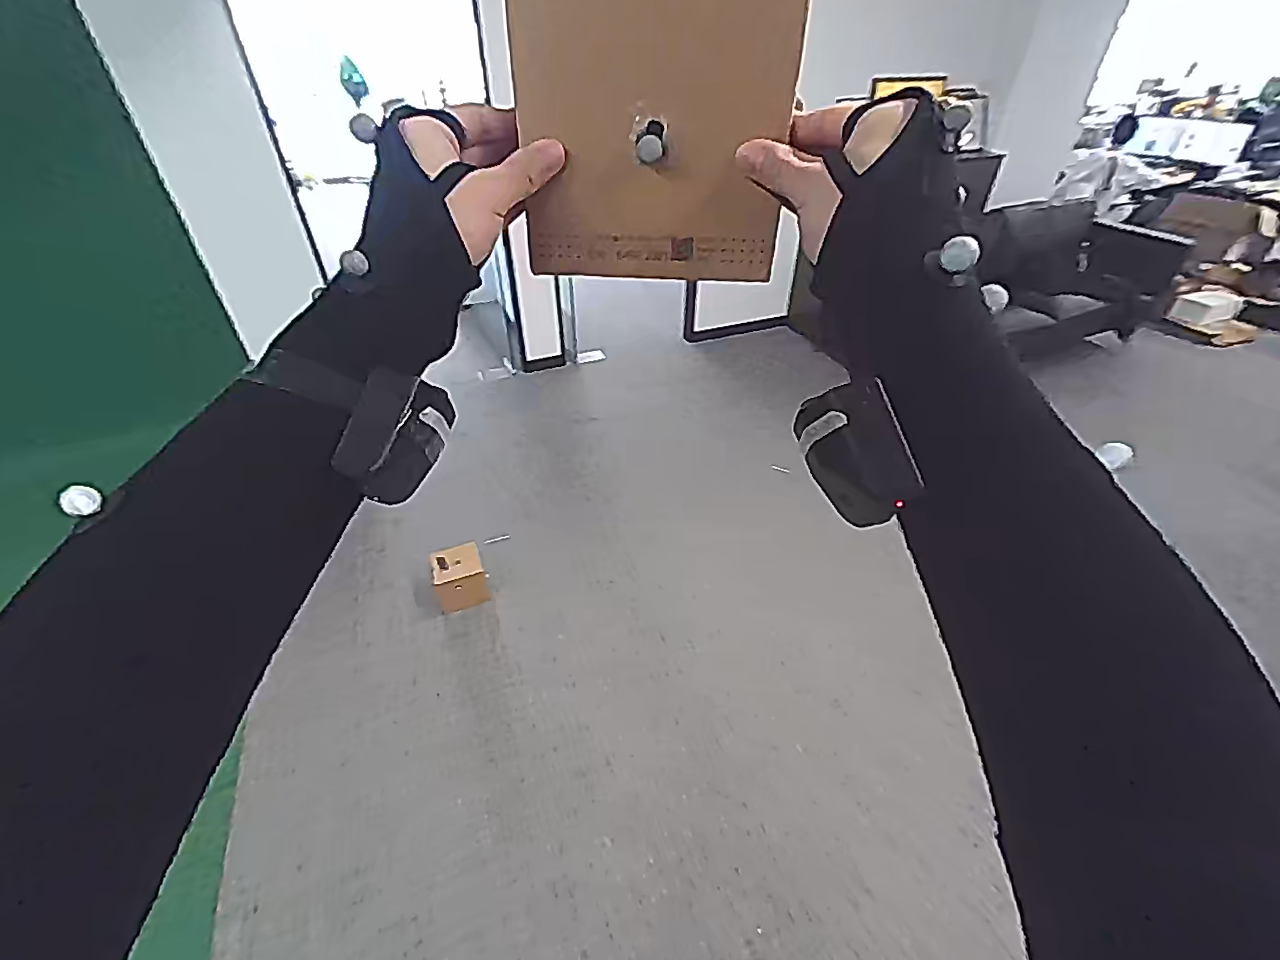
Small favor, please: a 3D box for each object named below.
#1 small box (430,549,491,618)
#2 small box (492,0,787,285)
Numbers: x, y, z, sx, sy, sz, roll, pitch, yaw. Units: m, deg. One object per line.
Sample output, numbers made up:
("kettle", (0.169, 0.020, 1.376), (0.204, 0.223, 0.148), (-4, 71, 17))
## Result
("small box", (-0.676, 0.393, 2.041), (0.179, 0.176, 0.168), (-14, 41, -19))
("small box", (0.008, -0.250, 0.397), (0.168, 0.176, 0.179), (4, 34, 4))
